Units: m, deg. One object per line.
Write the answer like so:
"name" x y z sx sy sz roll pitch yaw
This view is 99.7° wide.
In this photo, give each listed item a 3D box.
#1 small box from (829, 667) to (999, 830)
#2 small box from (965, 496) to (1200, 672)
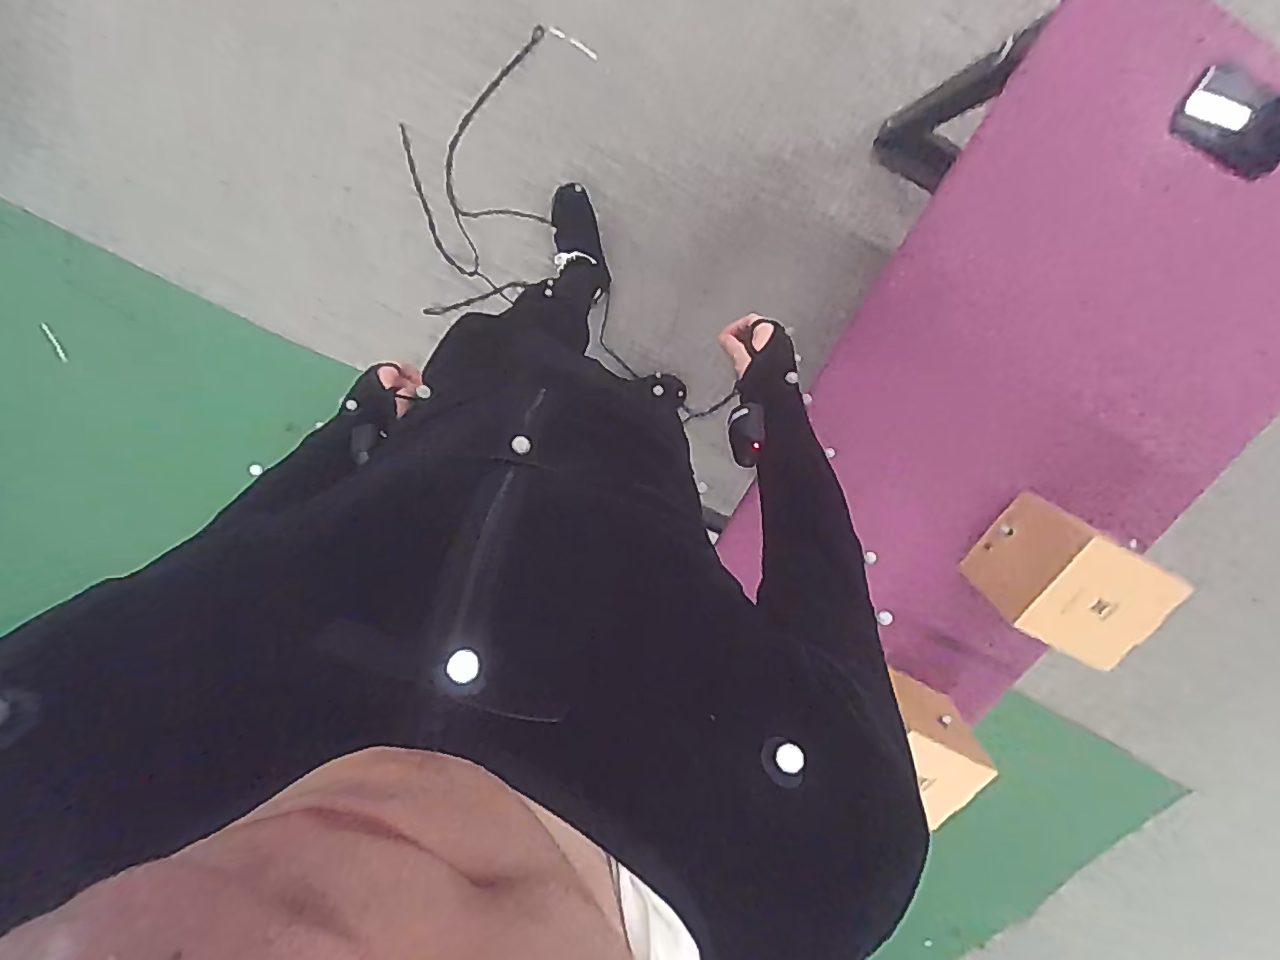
"small box" 0.470 0.466 0.958 0.179 0.176 0.168 27 110 -8
"small box" 0.649 0.147 0.820 0.179 0.176 0.168 27 110 -6
